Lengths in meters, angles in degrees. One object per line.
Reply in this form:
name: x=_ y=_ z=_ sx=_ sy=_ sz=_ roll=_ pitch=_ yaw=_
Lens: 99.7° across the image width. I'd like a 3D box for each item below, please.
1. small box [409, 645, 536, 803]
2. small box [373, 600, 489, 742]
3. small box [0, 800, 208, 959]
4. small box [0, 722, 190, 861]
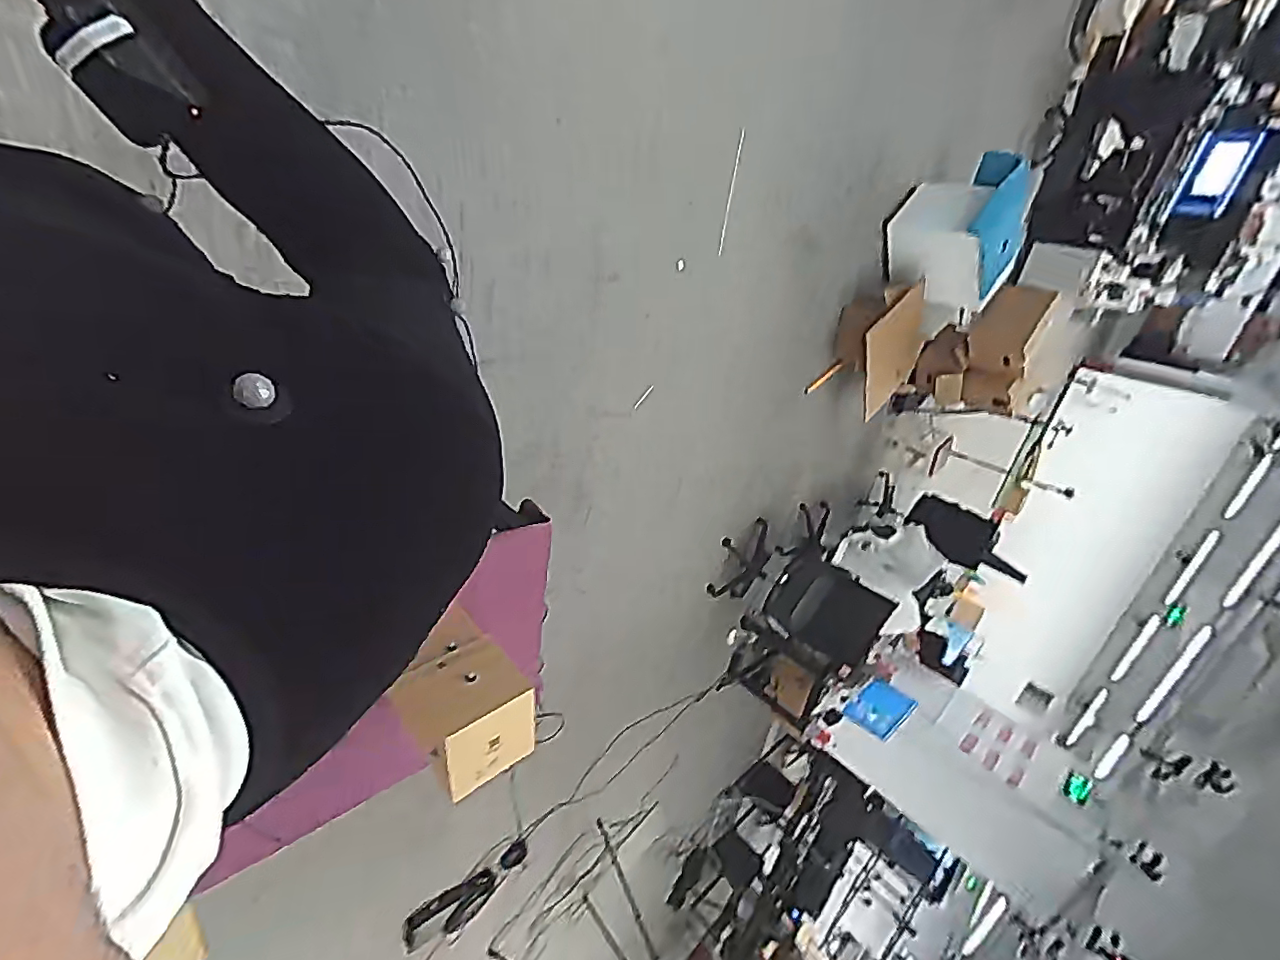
small box: x=-0.308 y=0.432 z=0.993 sx=0.168 sy=0.176 sz=0.179 roll=-19 pitch=127 yaw=-39
small box: x=-0.422 y=0.380 z=1.103 sx=0.168 sy=0.176 sz=0.179 roll=-22 pitch=129 yaw=-39
small box: x=-0.664 y=0.539 z=0.667 sx=0.168 sy=0.176 sz=0.179 roll=-14 pitch=126 yaw=-43
small box: x=-0.778 y=0.479 z=0.769 sx=0.168 sy=0.176 sz=0.179 roll=-18 pitch=128 yaw=-42
